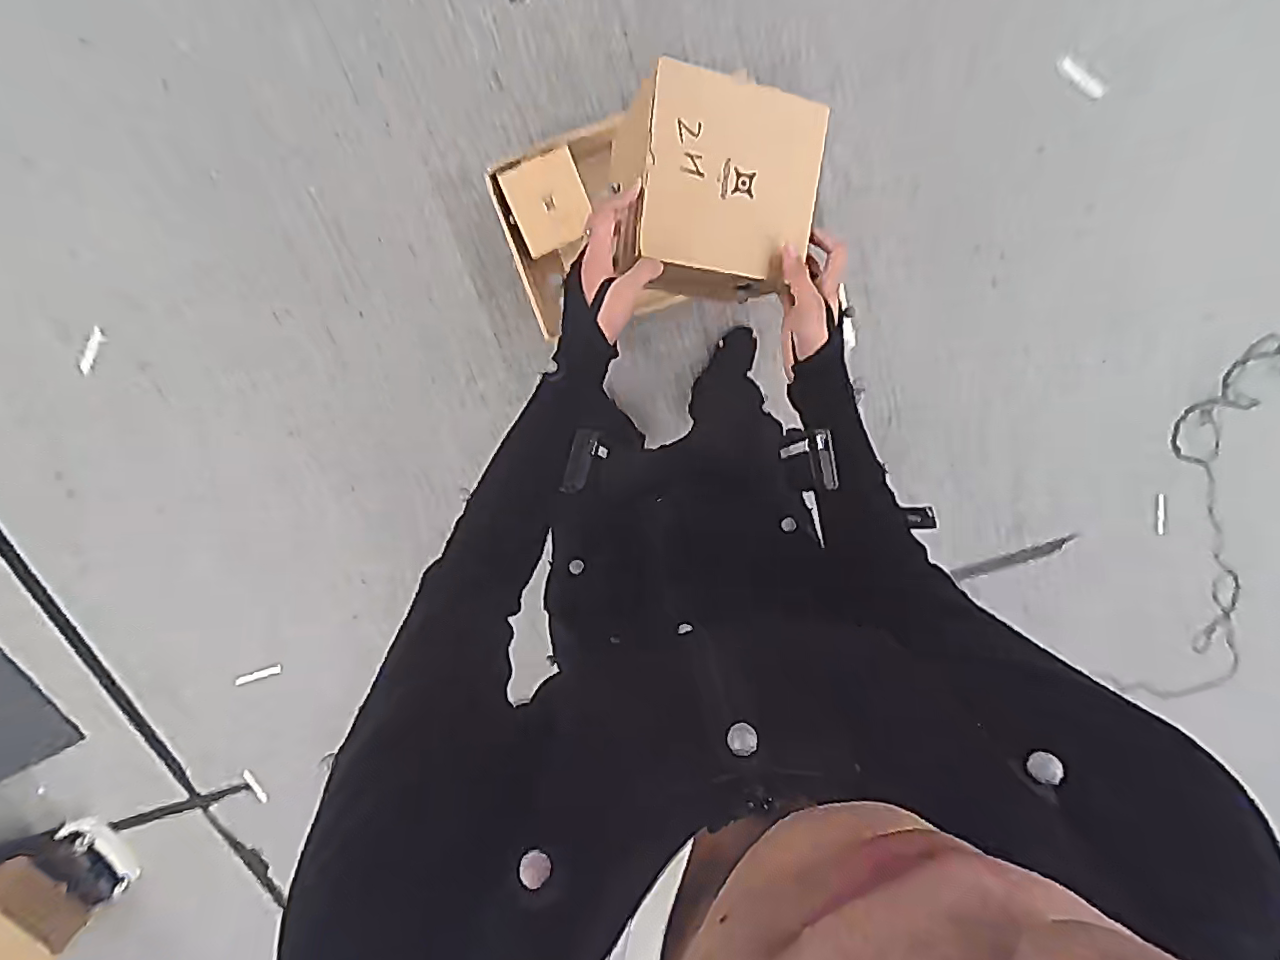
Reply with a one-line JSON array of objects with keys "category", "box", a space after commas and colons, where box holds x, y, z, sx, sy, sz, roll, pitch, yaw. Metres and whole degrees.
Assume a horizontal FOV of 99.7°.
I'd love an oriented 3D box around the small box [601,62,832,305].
[{"category": "small box", "box": [0.067, -0.287, 0.571, 0.179, 0.176, 0.168, 4, 100, -16]}]
